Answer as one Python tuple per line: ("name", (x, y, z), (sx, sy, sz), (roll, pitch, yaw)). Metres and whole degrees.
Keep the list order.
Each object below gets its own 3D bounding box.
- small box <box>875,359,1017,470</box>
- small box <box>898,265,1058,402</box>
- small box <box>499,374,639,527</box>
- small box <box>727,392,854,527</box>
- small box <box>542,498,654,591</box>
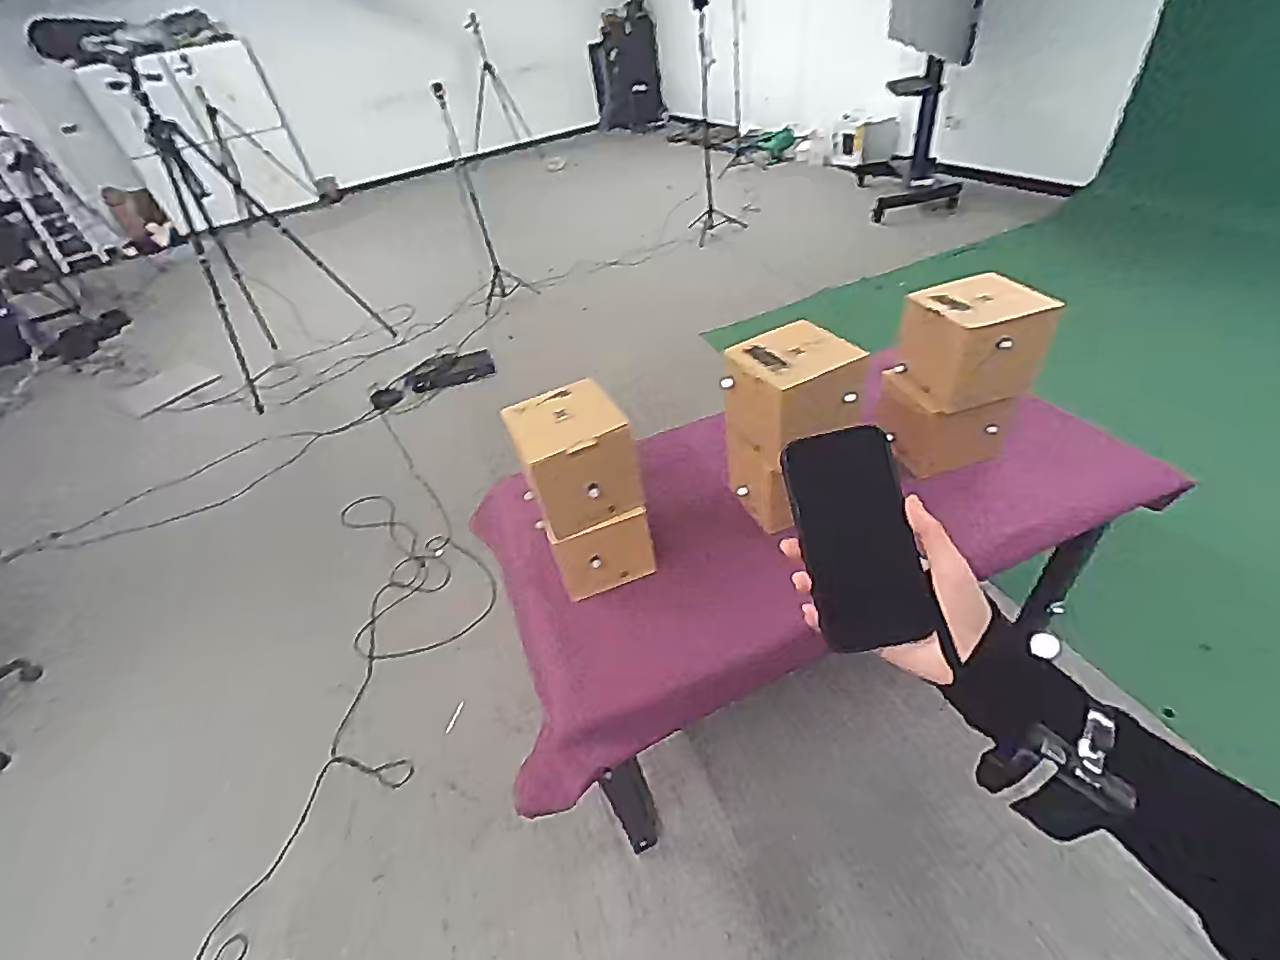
("small box", (0.604, -0.148, 1.094), (0.179, 0.176, 0.168), (-16, 41, -4))
("small box", (0.591, -0.262, 0.977), (0.179, 0.176, 0.168), (-16, 41, -5))
("small box", (-0.114, -0.044, 0.902), (0.168, 0.176, 0.179), (-23, 43, -13))
("small box", (0.284, -0.040, 1.050), (0.179, 0.176, 0.168), (-20, 42, -9))
("small box", (-0.084, 0.082, 1.004), (0.168, 0.176, 0.179), (-20, 42, -9))
